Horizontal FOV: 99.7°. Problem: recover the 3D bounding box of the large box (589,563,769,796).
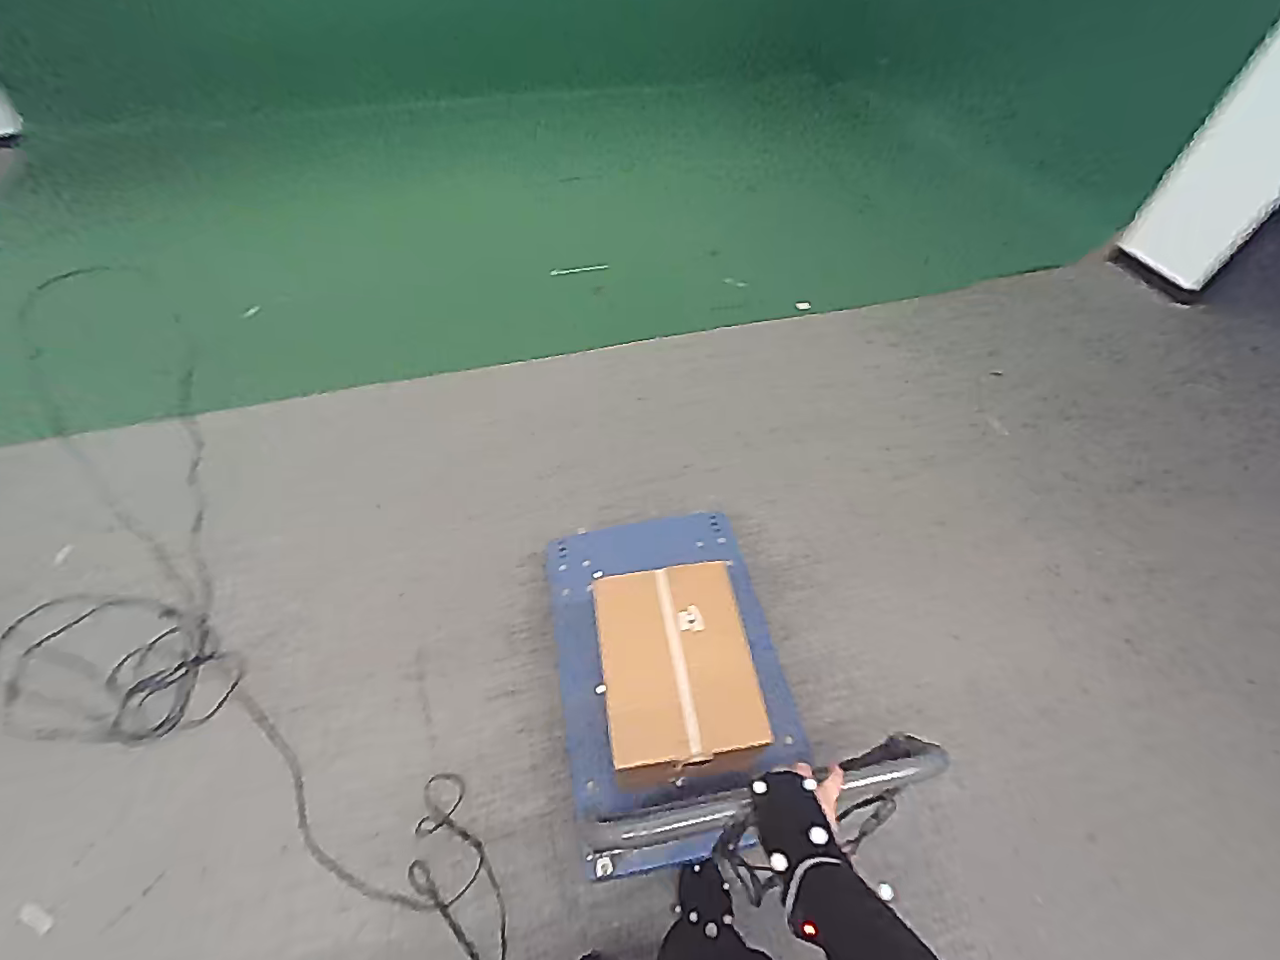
[{"bbox_3d":[0.066,0.459,1.254,0.320,0.320,0.408,-7,52,-7],"label":"large box"}]
